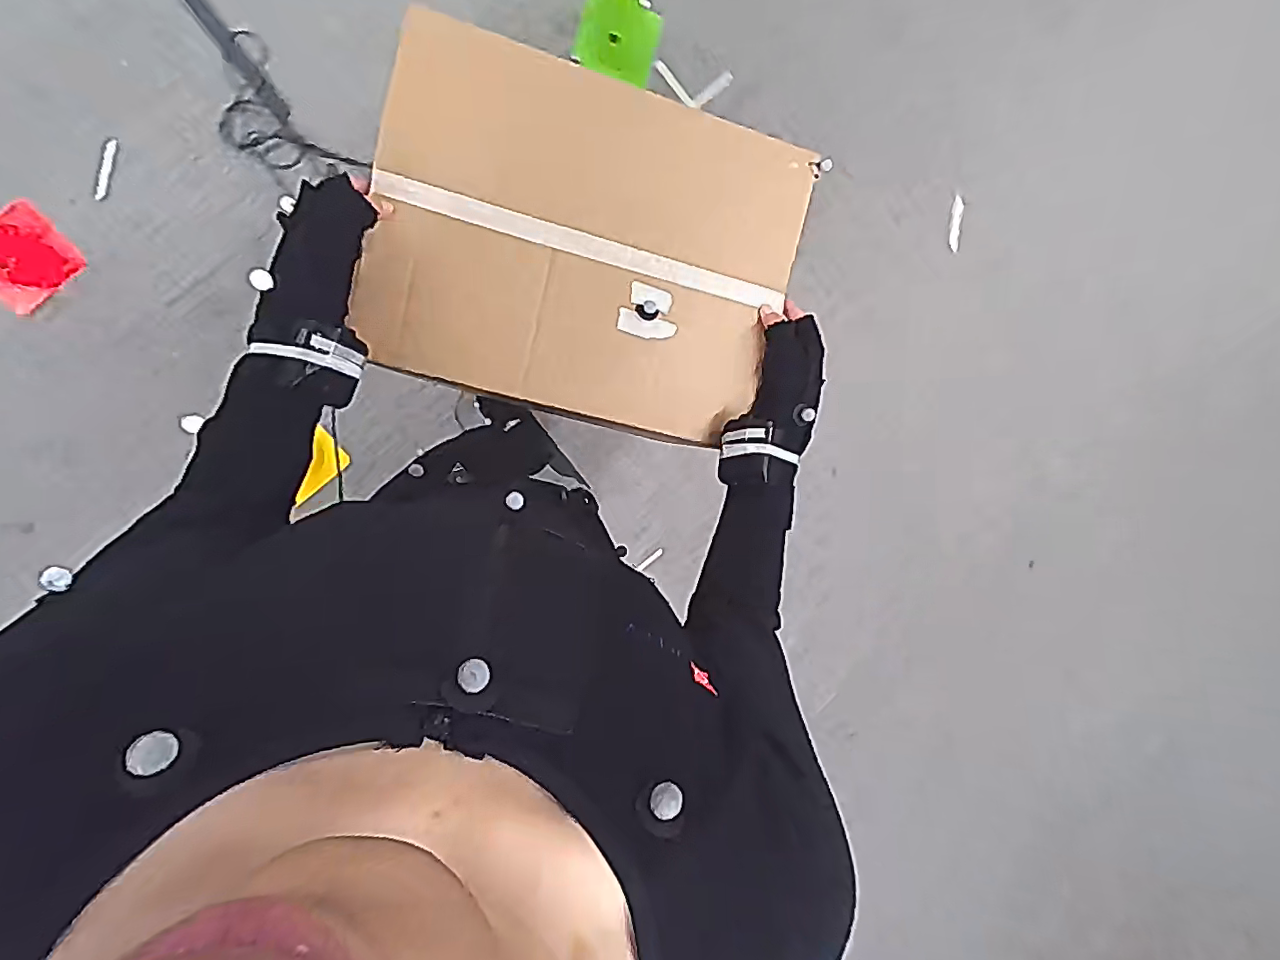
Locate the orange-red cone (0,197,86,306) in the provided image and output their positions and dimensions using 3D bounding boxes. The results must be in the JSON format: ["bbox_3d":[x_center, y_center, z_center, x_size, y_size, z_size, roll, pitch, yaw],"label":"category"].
[{"bbox_3d":[-1.431,-0.524,1.113,0.198,0.360,0.199,-41,99,-1],"label":"orange-red cone"}]

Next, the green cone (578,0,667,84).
[{"bbox_3d":[-0.023,-1.133,1.224,0.200,0.368,0.202,14,91,-8],"label":"green cone"}]
